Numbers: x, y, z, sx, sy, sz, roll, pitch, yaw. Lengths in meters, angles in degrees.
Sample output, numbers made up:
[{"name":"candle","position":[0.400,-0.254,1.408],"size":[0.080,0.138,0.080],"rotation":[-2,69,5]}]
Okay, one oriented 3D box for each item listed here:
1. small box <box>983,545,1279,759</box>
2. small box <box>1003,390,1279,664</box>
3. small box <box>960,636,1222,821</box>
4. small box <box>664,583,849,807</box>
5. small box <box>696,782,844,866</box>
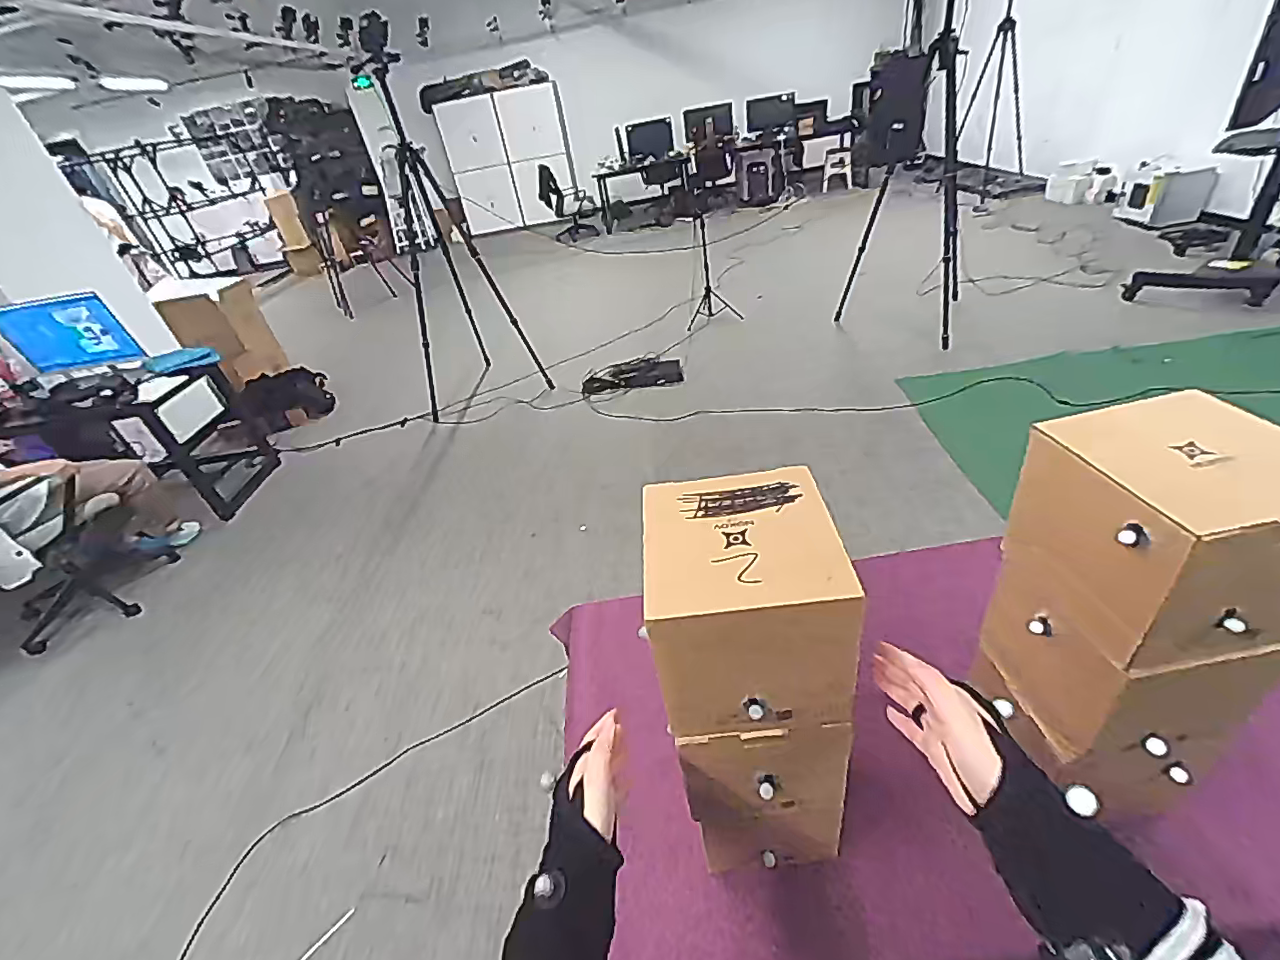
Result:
[{"name":"small box","position":[0.519,0.173,0.599],"size":[0.168,0.176,0.179],"rotation":[-11,36,2]},{"name":"small box","position":[0.487,0.041,0.511],"size":[0.168,0.176,0.179],"rotation":[-13,36,0]},{"name":"small box","position":[0.548,0.305,0.691],"size":[0.179,0.176,0.168],"rotation":[-10,35,2]},{"name":"small box","position":[0.125,0.247,0.613],"size":[0.168,0.176,0.179],"rotation":[-9,36,4]},{"name":"small box","position":[0.155,0.372,0.714],"size":[0.168,0.176,0.179],"rotation":[-9,36,4]}]
